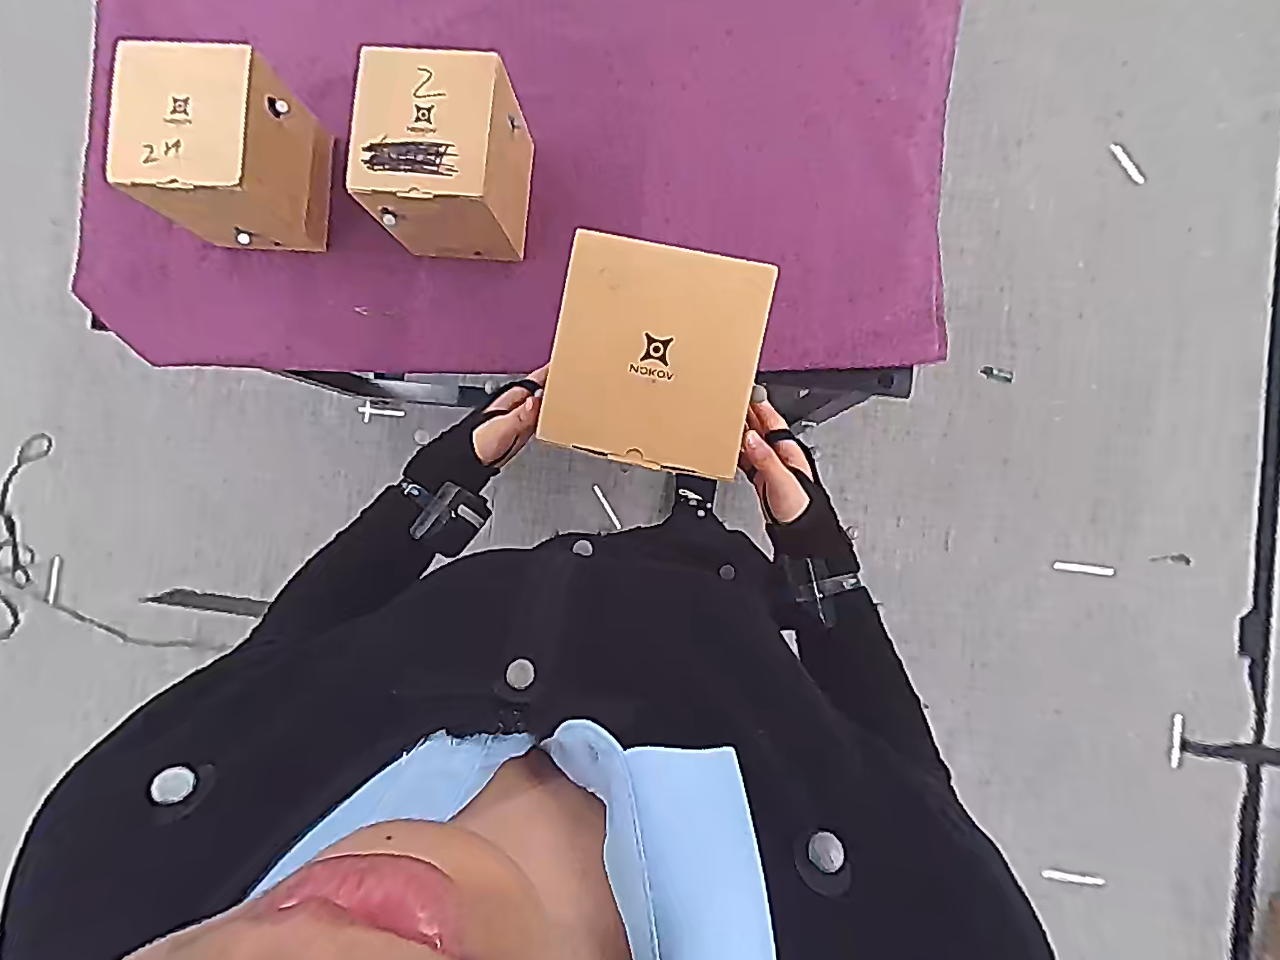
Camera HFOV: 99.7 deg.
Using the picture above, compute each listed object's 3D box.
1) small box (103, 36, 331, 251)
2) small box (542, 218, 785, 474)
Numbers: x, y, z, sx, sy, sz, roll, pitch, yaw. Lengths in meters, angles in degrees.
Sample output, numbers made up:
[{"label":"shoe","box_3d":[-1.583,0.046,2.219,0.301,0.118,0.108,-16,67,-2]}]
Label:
[{"label":"small box","box_3d":[-0.535,-0.427,0.709,0.168,0.176,0.179,3,89,2]},{"label":"small box","box_3d":[0.020,-0.108,0.504,0.168,0.176,0.179,12,92,2]}]
